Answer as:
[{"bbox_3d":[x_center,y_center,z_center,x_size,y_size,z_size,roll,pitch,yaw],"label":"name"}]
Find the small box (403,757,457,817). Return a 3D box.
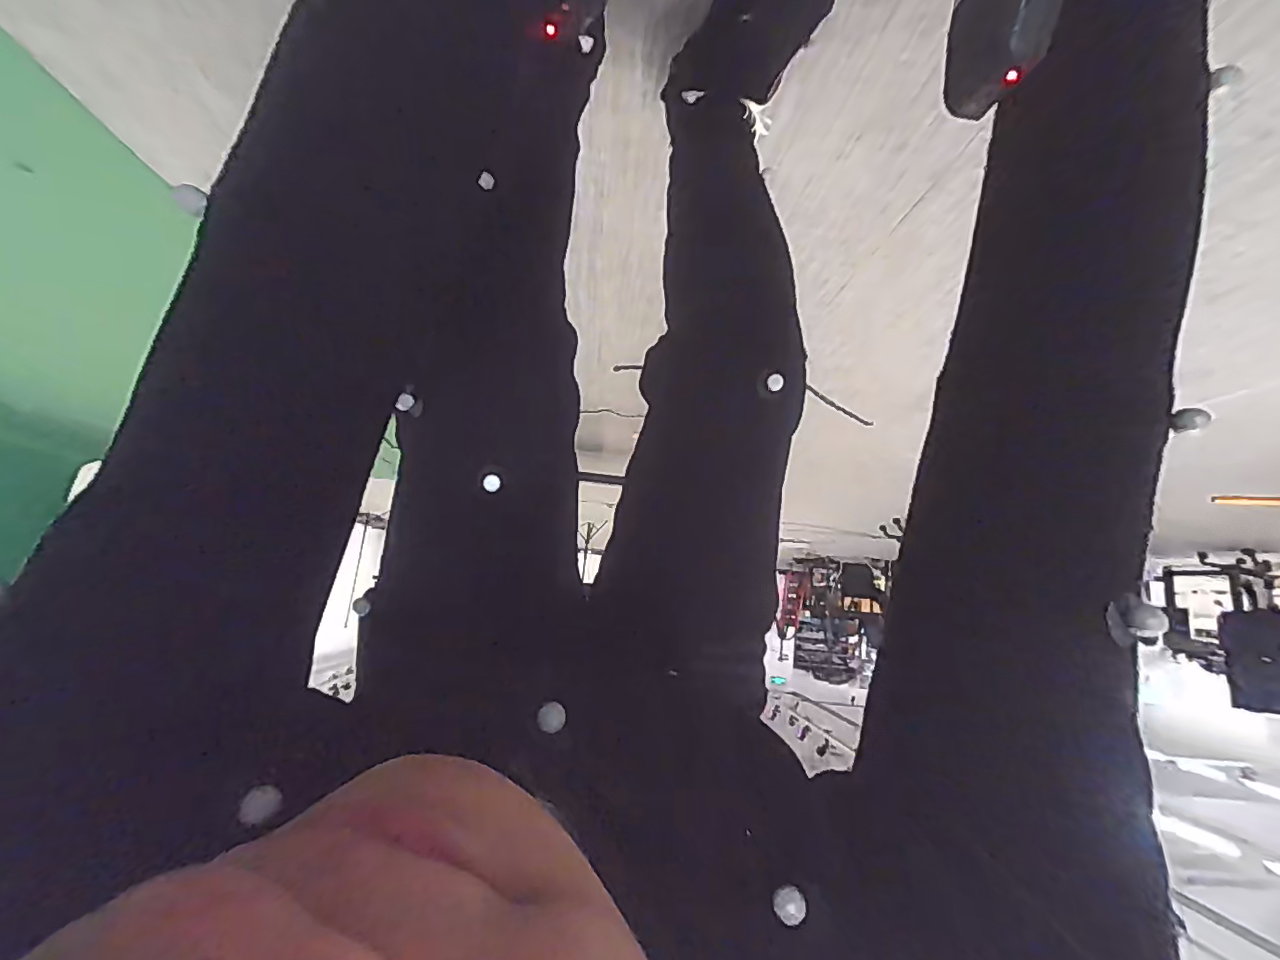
[{"bbox_3d":[-0.847,1.240,2.194,0.168,0.176,0.179,7,171,-12],"label":"small box"}]
